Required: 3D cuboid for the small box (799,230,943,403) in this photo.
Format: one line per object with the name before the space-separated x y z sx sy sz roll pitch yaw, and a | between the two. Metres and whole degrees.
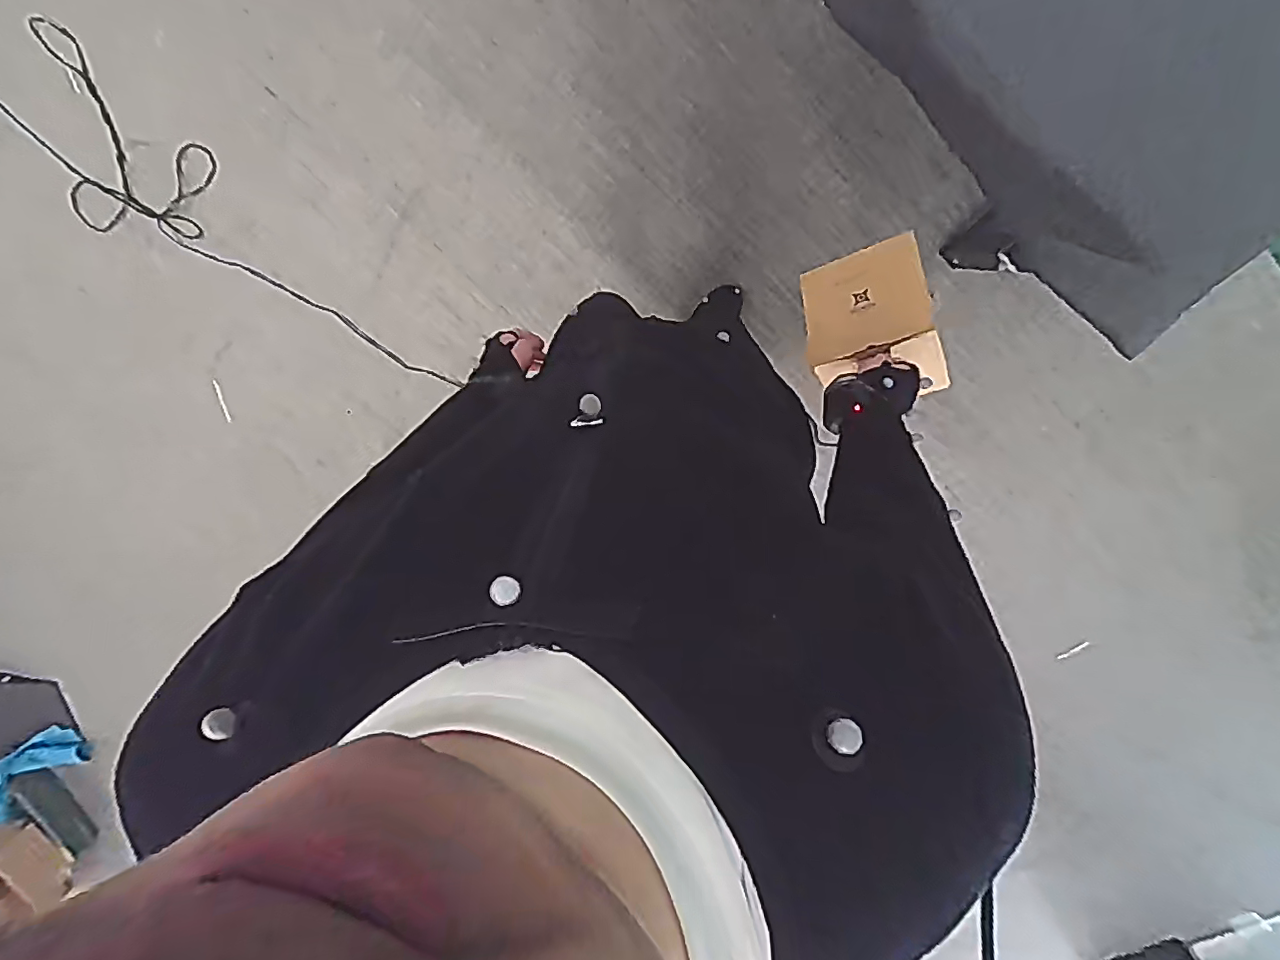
small box | 0.358 -0.235 0.836 0.168 0.179 0.176 -11 154 31
